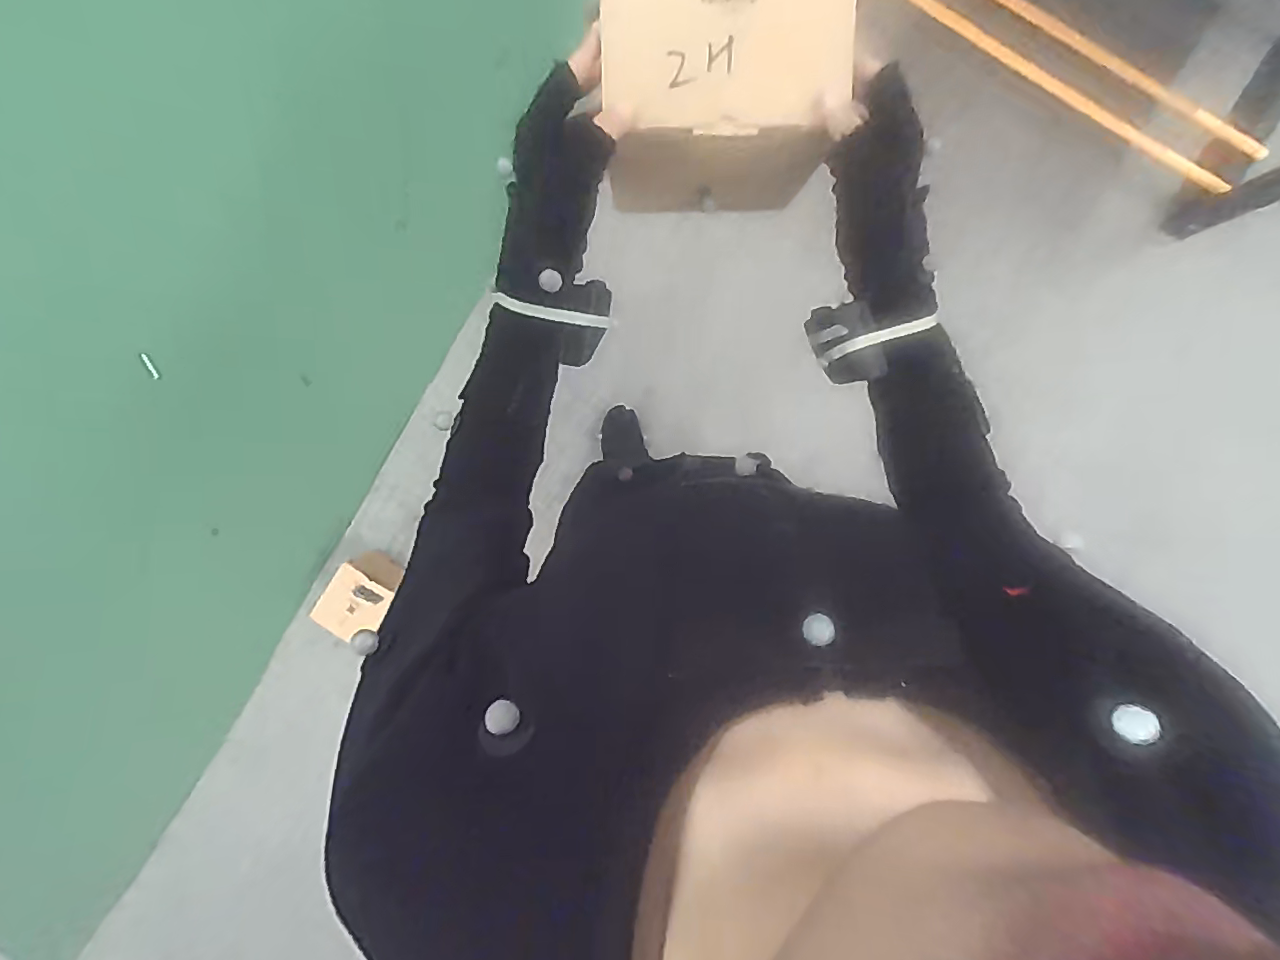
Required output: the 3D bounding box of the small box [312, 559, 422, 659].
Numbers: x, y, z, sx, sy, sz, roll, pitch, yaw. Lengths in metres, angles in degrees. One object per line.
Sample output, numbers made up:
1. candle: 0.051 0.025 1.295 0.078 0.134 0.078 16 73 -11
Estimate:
1. small box: -0.705 0.330 1.424 0.168 0.176 0.179 33 94 0
